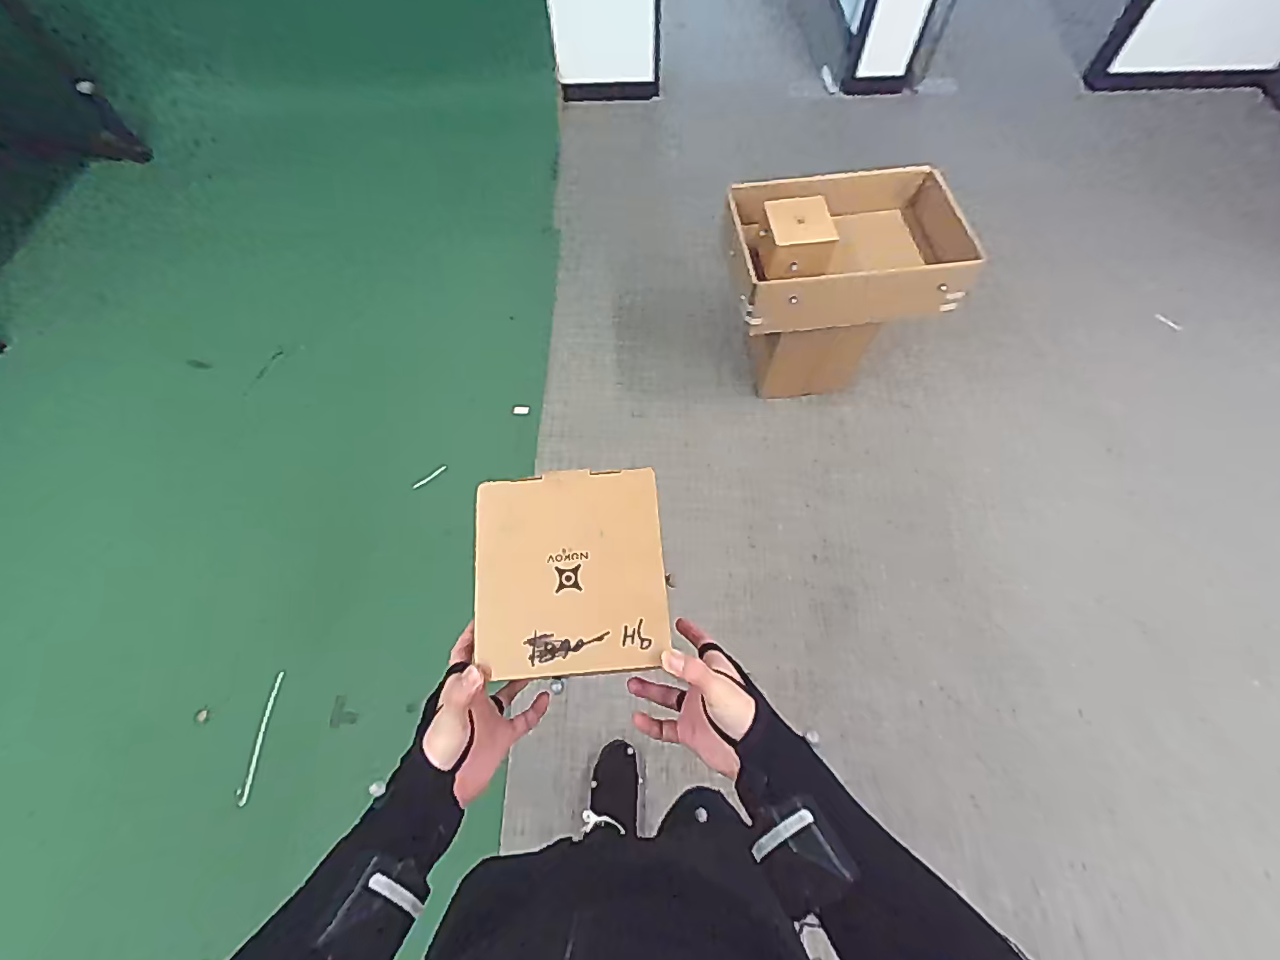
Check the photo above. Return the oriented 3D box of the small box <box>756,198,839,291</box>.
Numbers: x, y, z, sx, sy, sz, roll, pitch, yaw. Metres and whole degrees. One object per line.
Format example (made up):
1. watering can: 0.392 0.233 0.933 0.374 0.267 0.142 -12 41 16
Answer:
1. small box: 0.428 -0.643 1.497 0.168 0.176 0.179 -6 63 -2

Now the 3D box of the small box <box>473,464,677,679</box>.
1. small box: -0.053 0.099 0.534 0.168 0.176 0.179 -4 69 2
